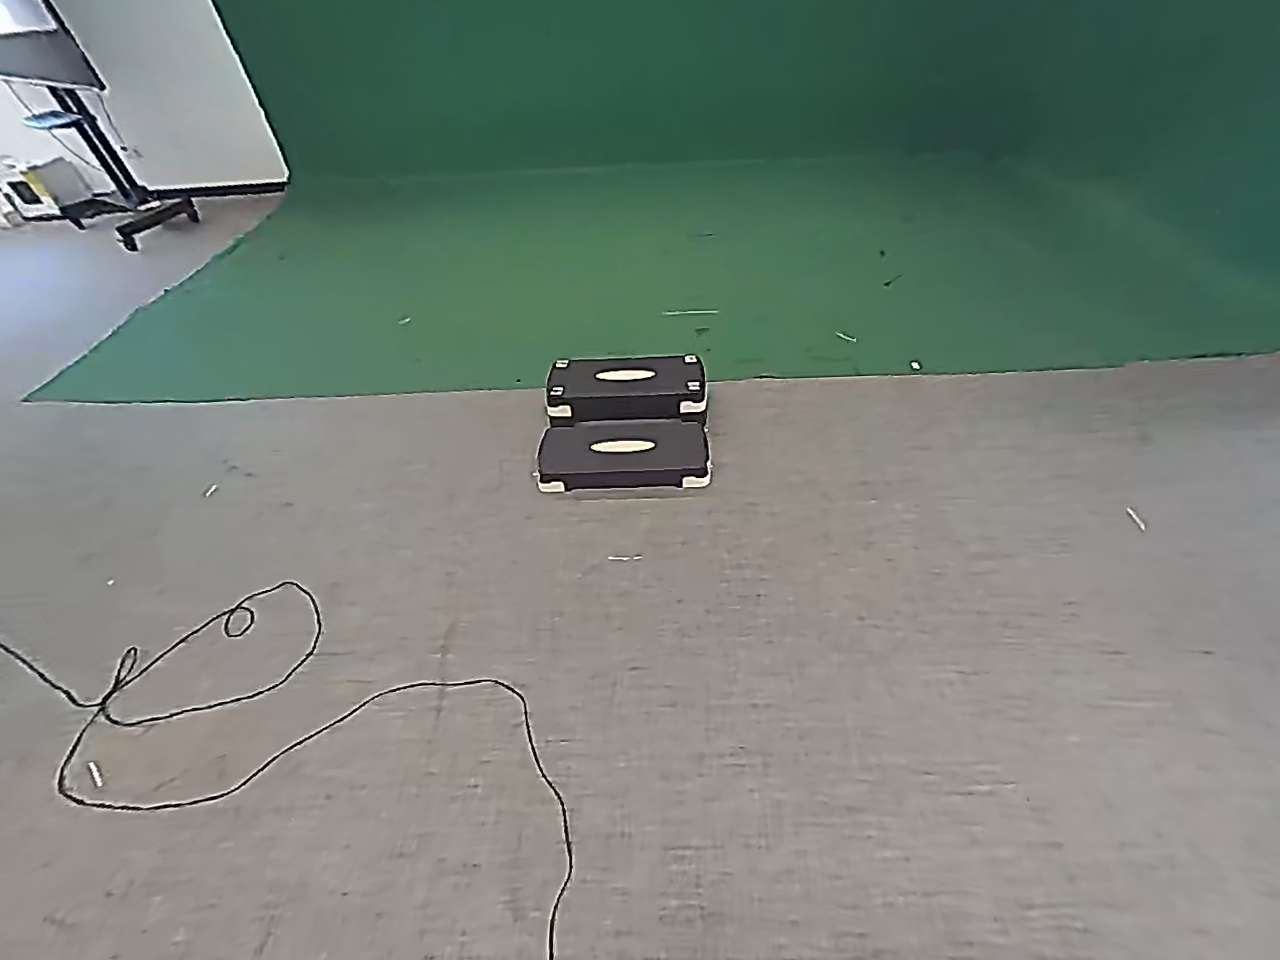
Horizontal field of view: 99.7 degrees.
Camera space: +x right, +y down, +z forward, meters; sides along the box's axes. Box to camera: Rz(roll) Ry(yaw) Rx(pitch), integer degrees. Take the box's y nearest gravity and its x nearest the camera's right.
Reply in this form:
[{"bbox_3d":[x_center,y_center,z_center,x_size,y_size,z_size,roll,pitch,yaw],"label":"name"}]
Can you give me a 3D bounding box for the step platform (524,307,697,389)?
[{"bbox_3d":[-0.110,-0.539,2.206,0.684,0.204,0.286,-2,46,3],"label":"step platform"}]
